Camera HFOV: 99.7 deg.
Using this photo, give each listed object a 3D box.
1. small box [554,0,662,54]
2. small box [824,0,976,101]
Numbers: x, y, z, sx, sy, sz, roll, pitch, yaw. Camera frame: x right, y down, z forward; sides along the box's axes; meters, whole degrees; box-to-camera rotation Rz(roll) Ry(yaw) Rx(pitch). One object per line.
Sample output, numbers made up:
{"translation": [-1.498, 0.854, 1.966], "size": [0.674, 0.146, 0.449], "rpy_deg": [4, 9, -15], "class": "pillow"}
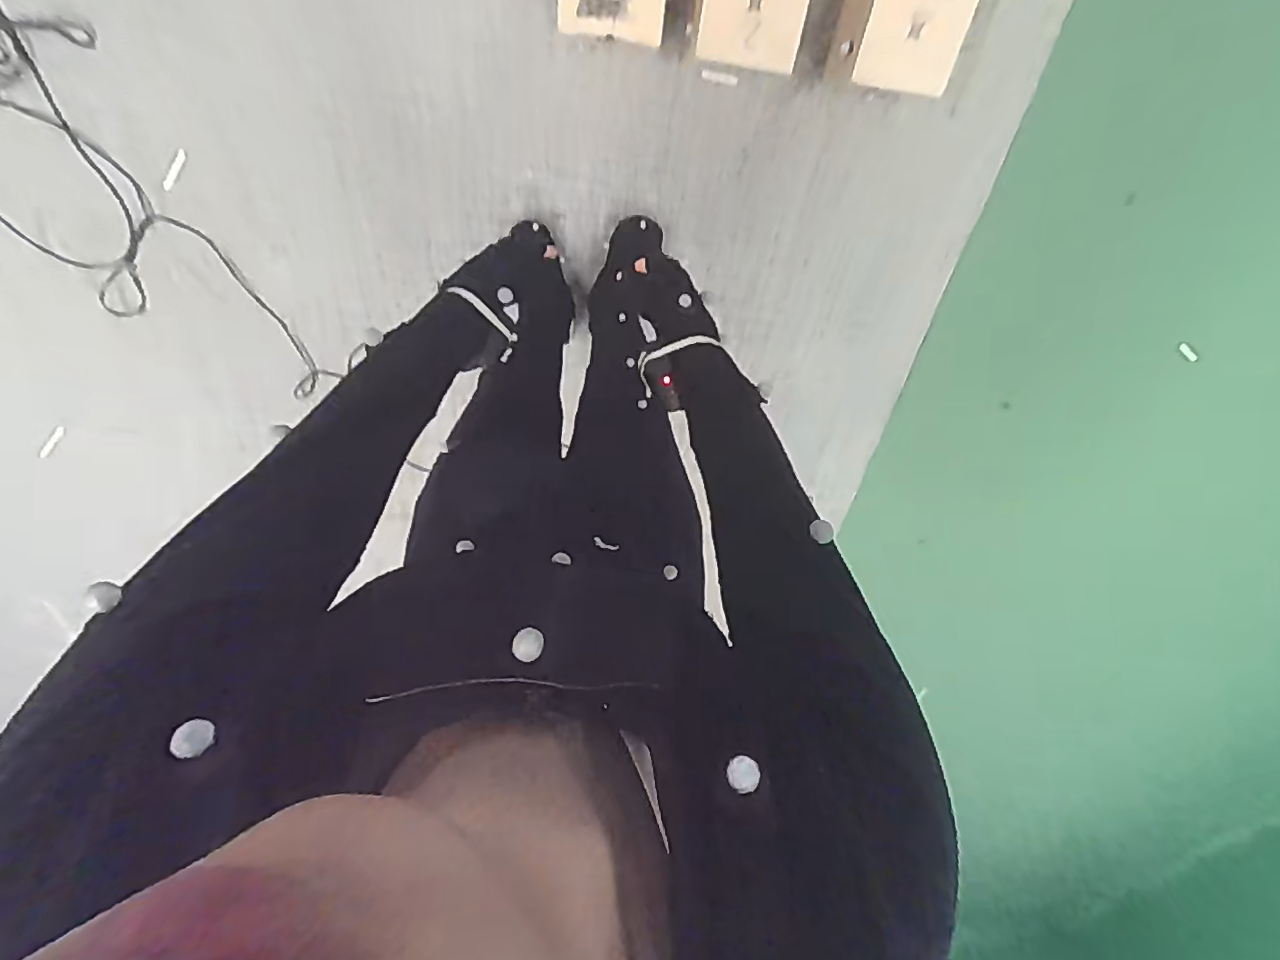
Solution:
{"translation": [-0.044, -0.809, 0.871], "size": [0.168, 0.176, 0.179], "rpy_deg": [5, 124, -5], "class": "small box"}
{"translation": [0.432, -0.765, 0.920], "size": [0.168, 0.176, 0.179], "rpy_deg": [5, 125, -7], "class": "small box"}
